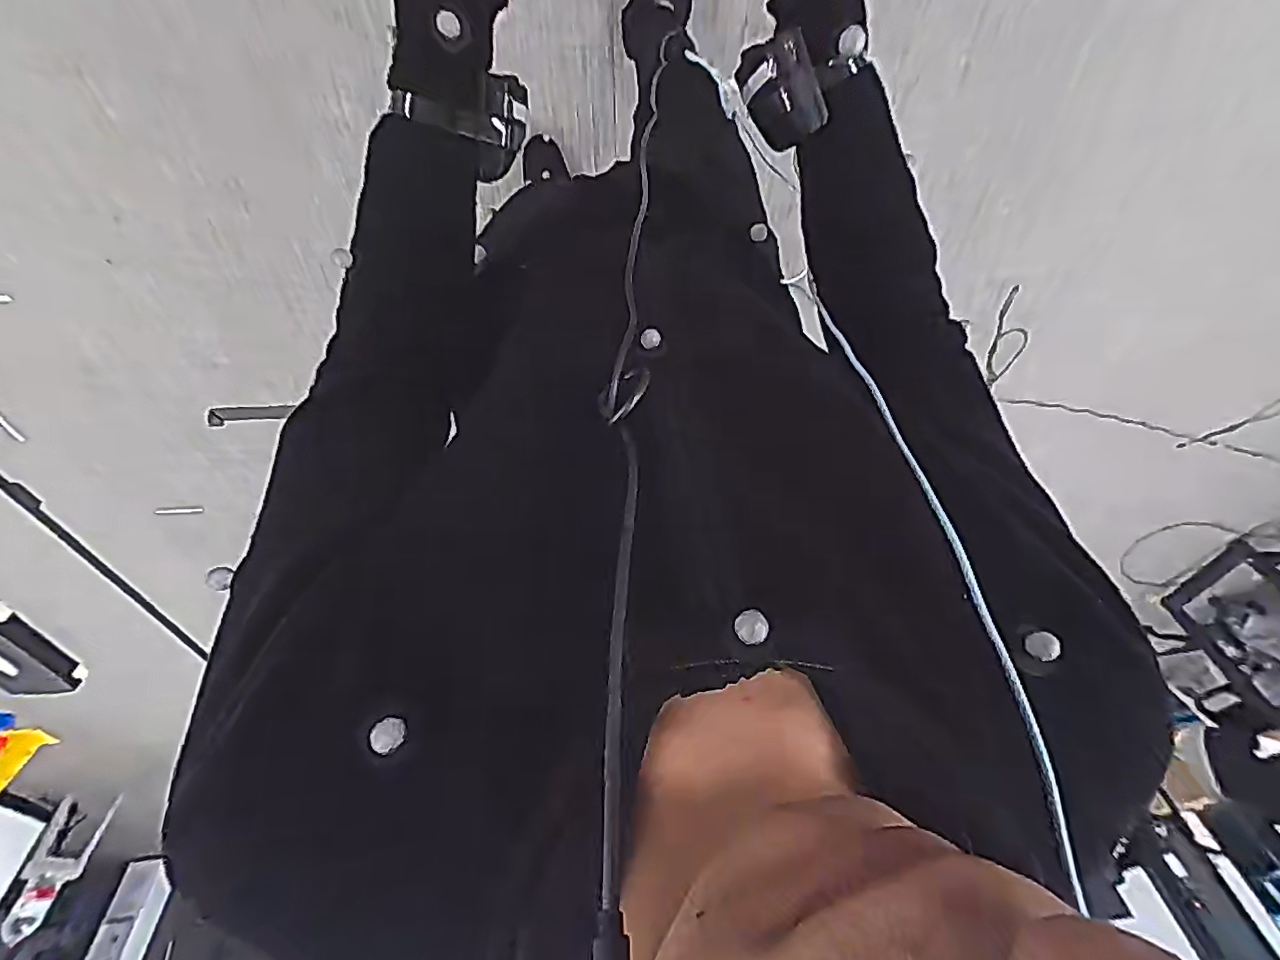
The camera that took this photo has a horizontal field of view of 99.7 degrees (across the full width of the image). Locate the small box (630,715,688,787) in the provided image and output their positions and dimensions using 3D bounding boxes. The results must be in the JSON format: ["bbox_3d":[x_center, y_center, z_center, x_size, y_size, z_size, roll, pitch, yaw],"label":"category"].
[{"bbox_3d":[0.057,0.896,1.799,0.168,0.176,0.179,-1,134,-7],"label":"small box"}]
